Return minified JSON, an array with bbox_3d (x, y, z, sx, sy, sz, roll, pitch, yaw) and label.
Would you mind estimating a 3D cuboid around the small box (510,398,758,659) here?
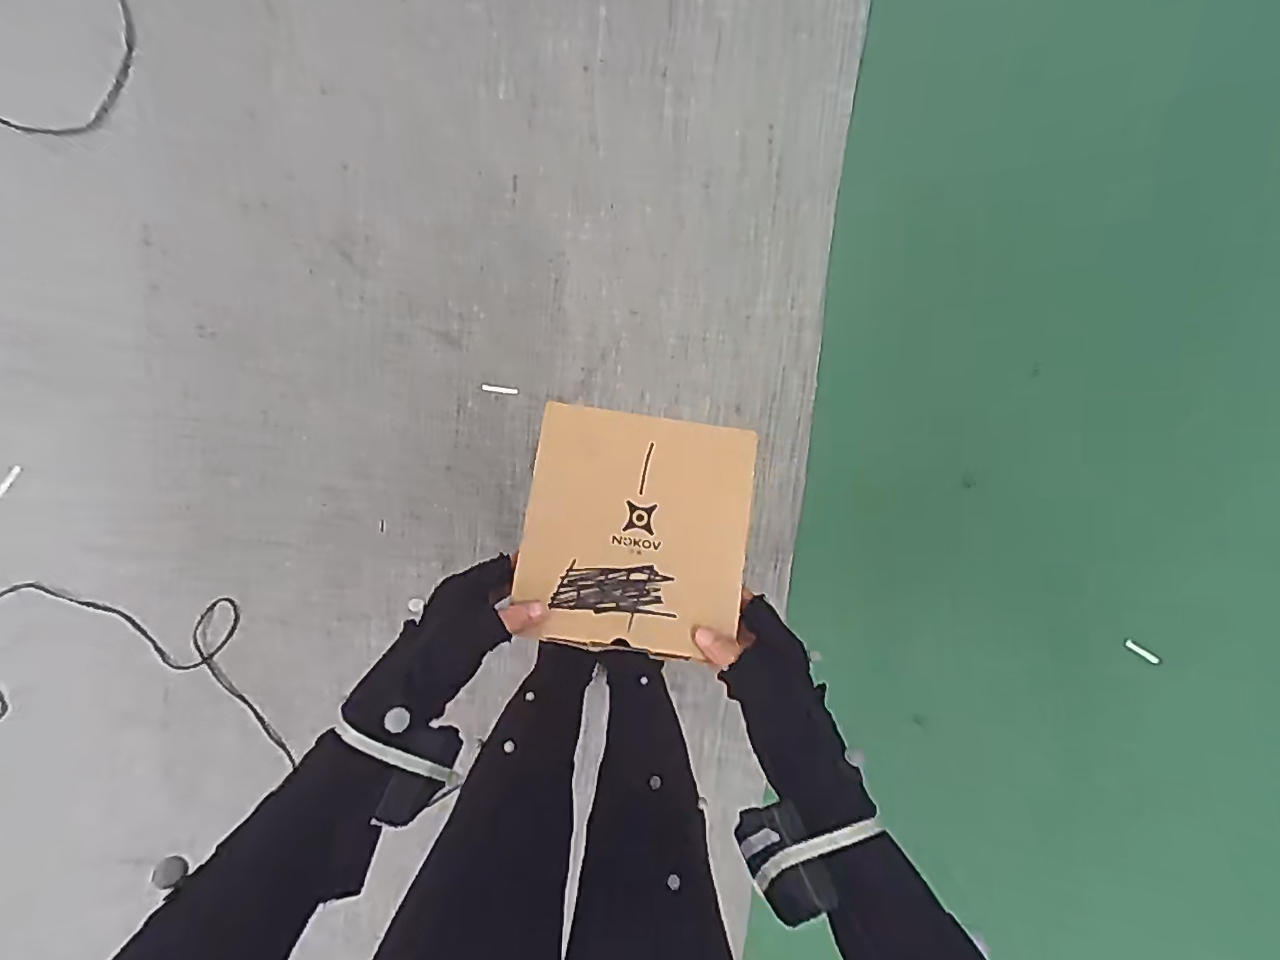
[{"bbox_3d":[-0.004,0.046,0.483,0.168,0.176,0.179,9,80,-1],"label":"small box"}]
